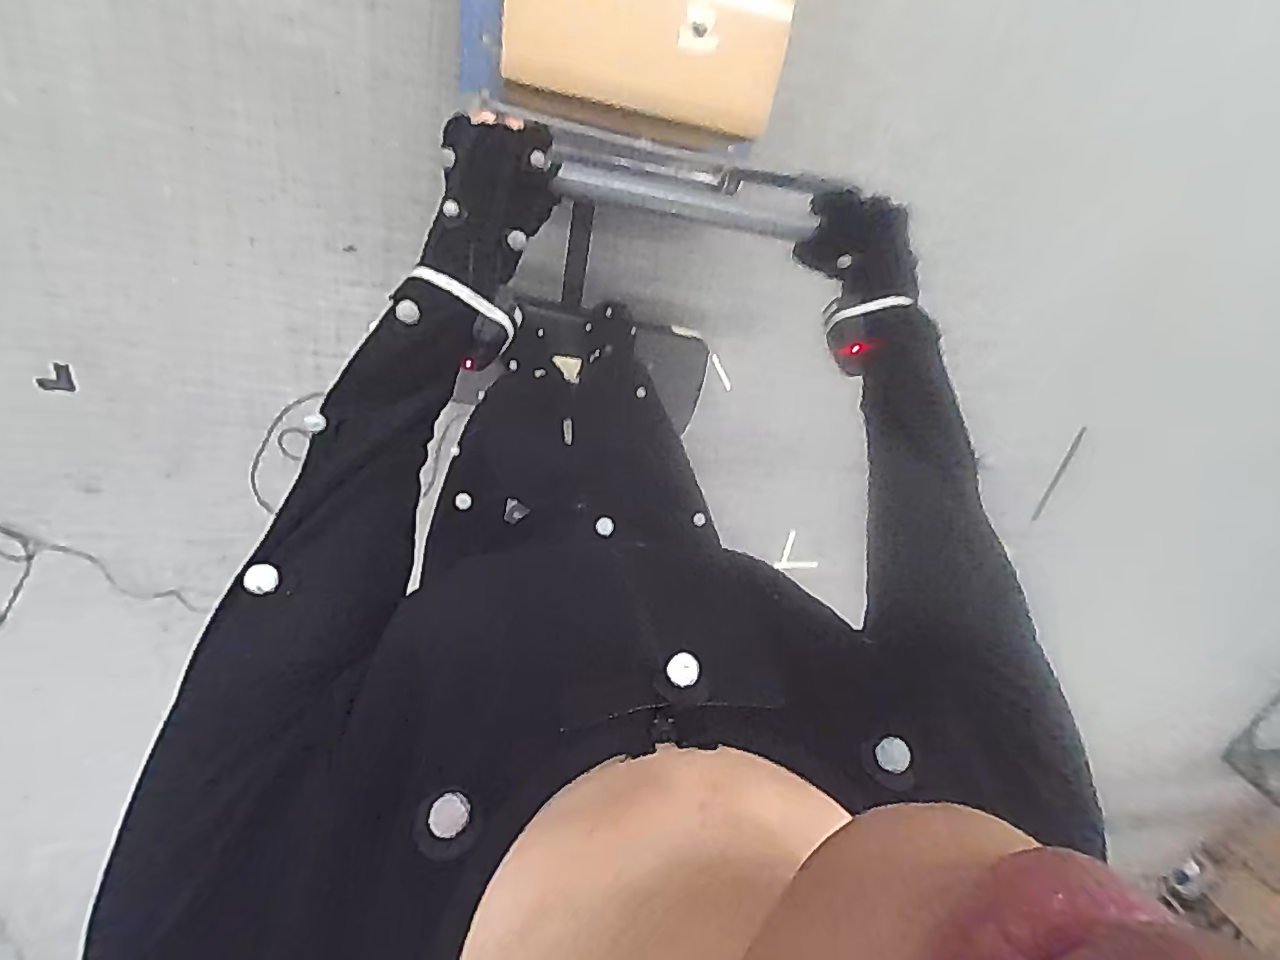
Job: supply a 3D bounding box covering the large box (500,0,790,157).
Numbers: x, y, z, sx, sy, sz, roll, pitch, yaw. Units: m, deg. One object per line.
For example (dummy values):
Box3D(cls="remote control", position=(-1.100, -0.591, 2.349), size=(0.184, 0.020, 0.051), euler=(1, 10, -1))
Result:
Box3D(cls="large box", position=(-0.015, -0.736, 0.865), size=(0.408, 0.320, 0.320), euler=(3, 118, -16))
